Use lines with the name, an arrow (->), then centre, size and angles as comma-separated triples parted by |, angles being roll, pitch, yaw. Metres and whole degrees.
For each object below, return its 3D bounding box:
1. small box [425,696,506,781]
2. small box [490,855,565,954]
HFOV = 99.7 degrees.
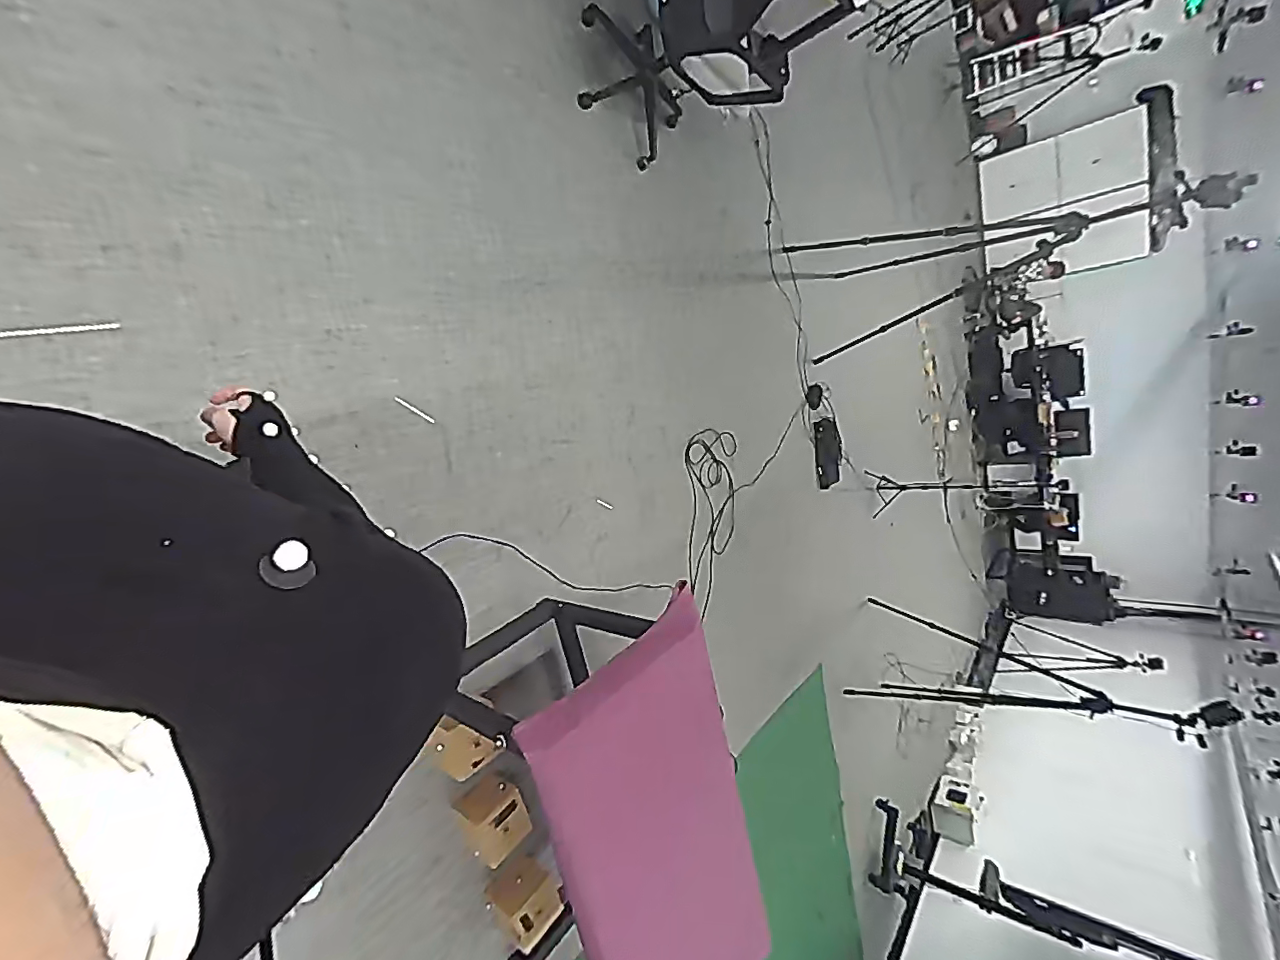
small box -> -0.560, 0.811, 1.723 | 0.168, 0.176, 0.179 | -22, 104, -46
small box -> -0.398, 1.461, 1.874 | 0.179, 0.176, 0.168 | -29, 110, -45
